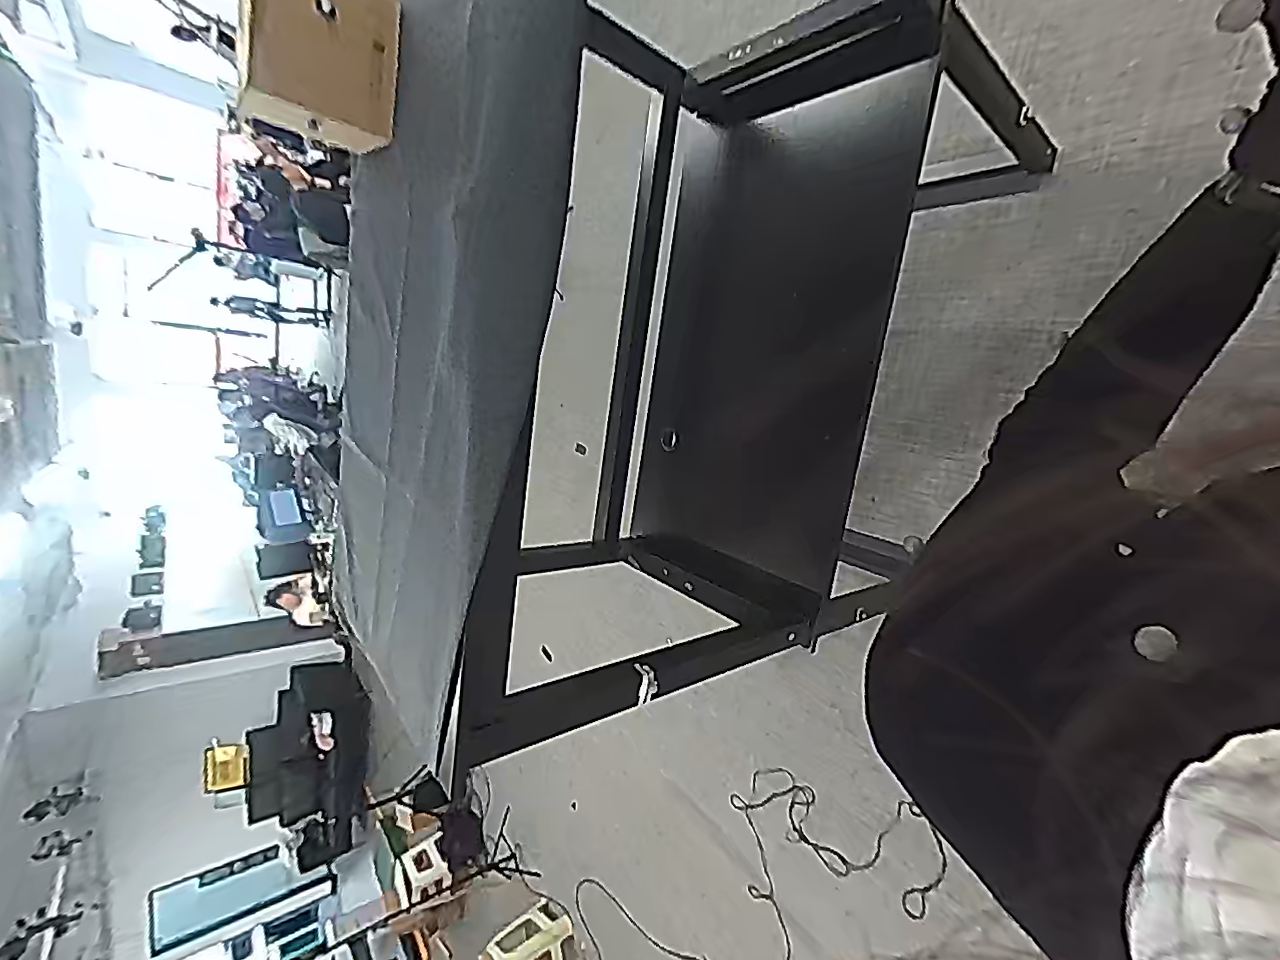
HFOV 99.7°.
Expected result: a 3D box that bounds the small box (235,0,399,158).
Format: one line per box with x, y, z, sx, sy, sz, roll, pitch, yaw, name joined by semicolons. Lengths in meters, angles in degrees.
-0.444;-0.568;0.742;0.179;0.176;0.168;27;110;47;small box
